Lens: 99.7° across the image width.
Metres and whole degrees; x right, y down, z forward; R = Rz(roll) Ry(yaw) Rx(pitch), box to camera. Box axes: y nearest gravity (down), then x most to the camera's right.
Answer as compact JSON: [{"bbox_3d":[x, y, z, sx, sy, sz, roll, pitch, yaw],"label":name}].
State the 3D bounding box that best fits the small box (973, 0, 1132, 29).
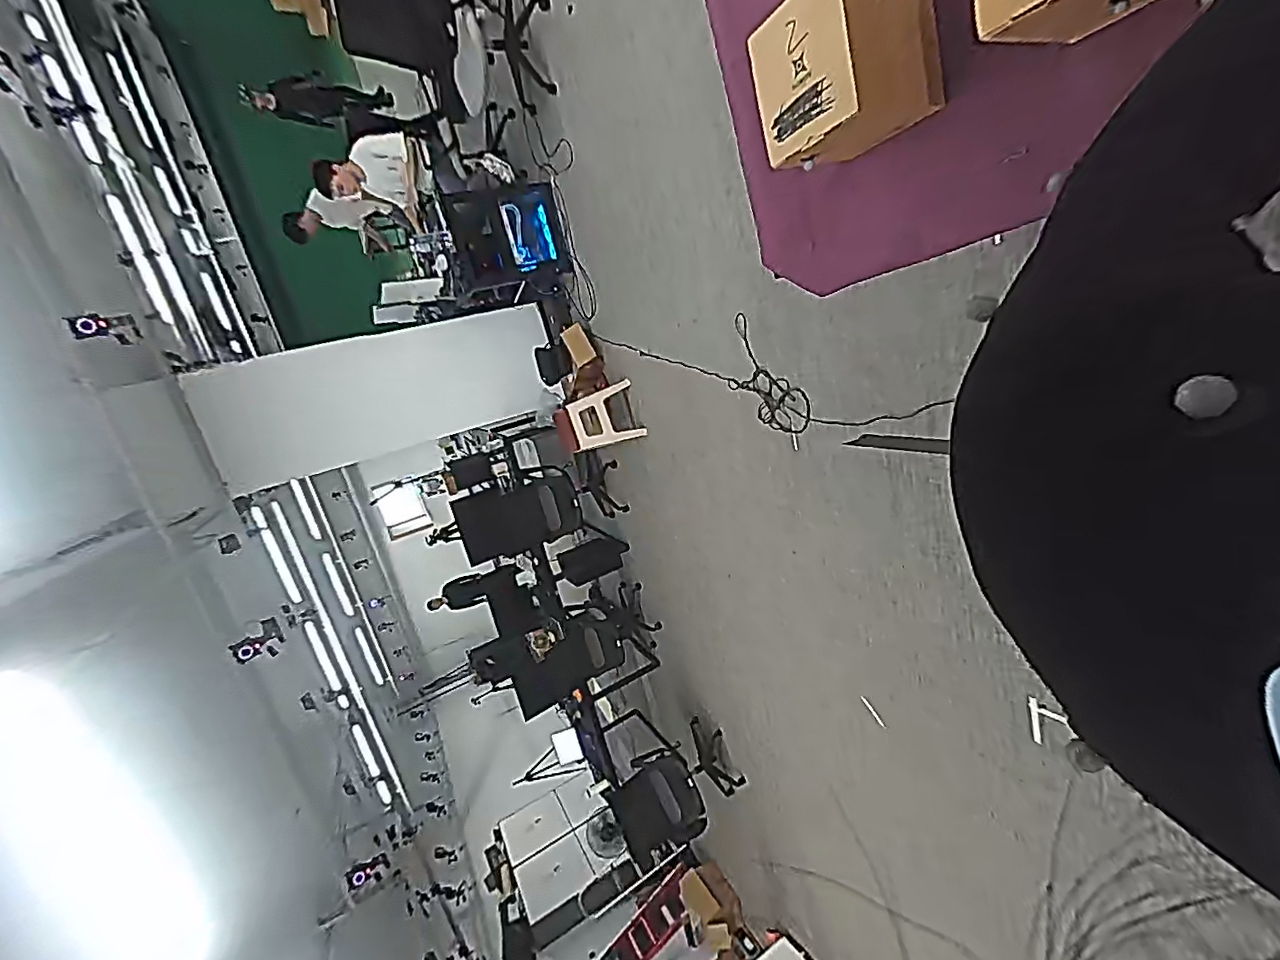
[{"bbox_3d":[0.414,-0.533,0.467,0.168,0.176,0.179,14,122,63],"label":"small box"}]
